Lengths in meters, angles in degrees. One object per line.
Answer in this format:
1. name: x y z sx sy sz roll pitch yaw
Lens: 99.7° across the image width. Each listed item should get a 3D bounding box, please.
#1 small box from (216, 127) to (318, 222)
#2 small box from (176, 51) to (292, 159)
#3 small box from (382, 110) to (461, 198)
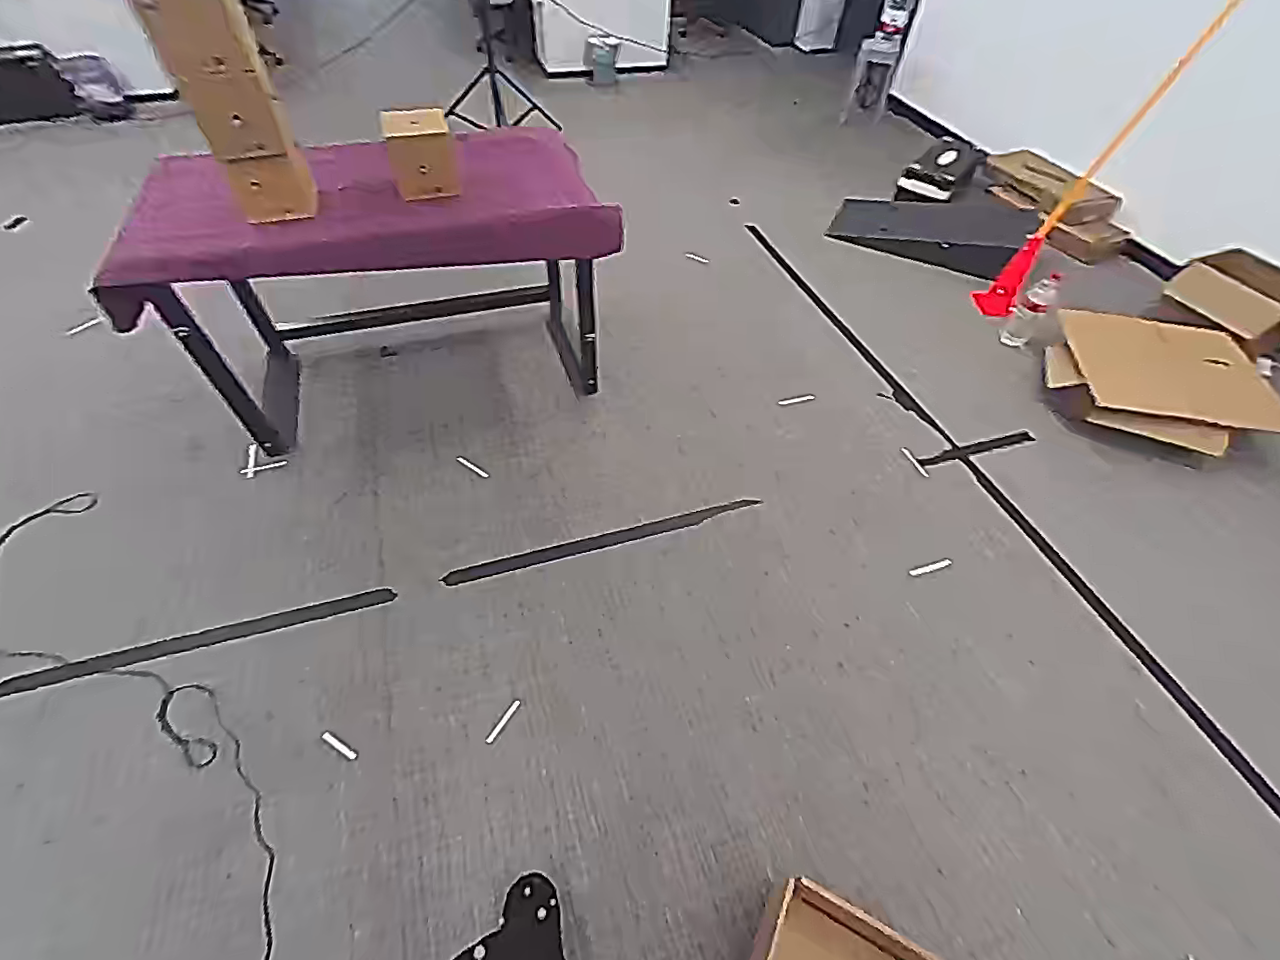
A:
1. small box: -0.971 -0.799 1.425 0.168 0.176 0.179 -14 54 -13
2. small box: -0.954 -0.884 1.284 0.168 0.176 0.179 -18 55 -16
3. small box: -0.615 -0.919 1.533 0.168 0.176 0.179 -13 54 -13
